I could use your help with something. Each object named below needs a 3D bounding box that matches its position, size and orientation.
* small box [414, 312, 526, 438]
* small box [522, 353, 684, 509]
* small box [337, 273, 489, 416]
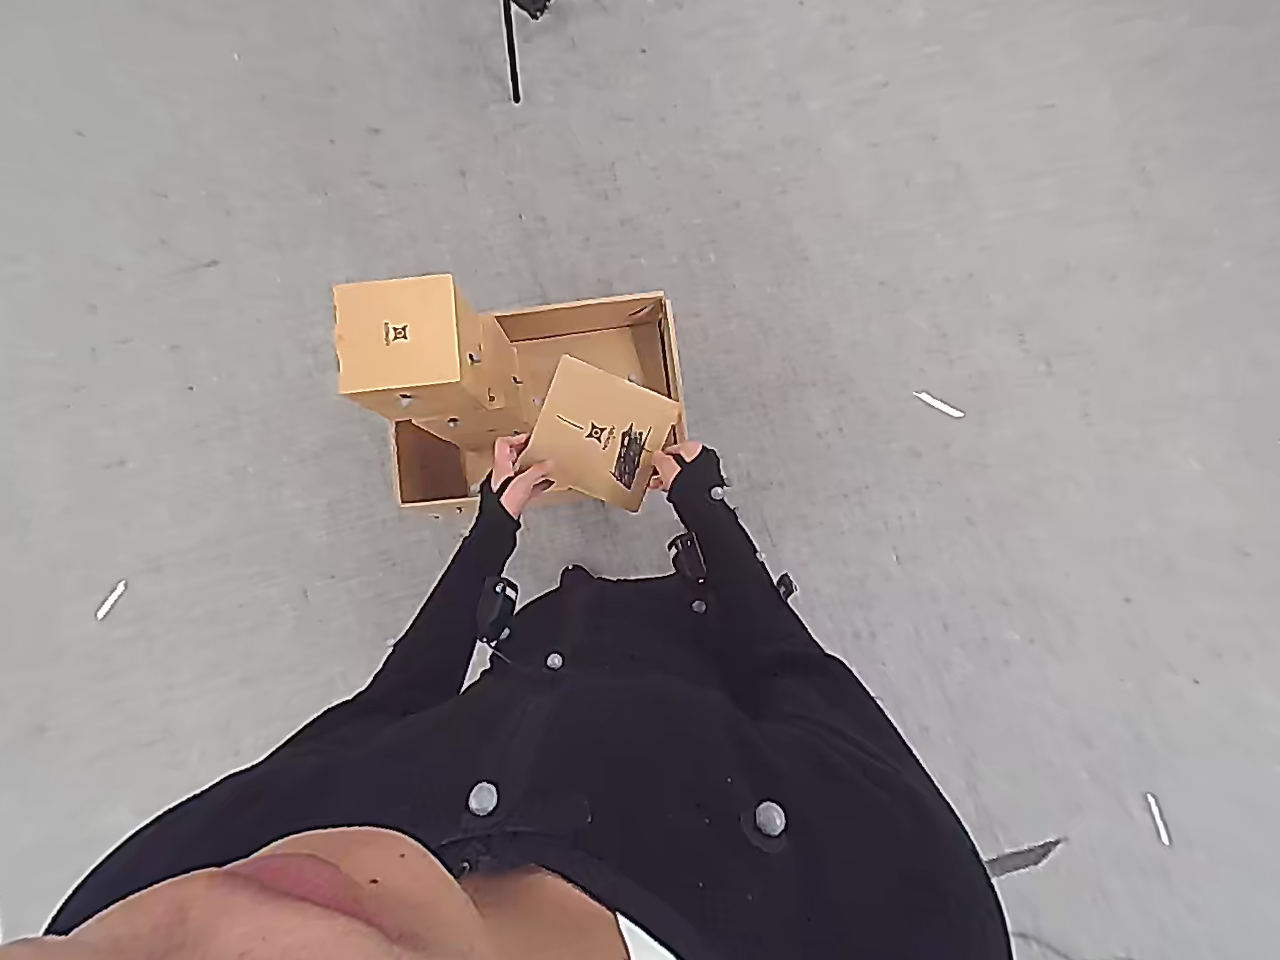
[{"bbox_3d":[-0.321,-0.190,1.017,0.168,0.176,0.179,-10,83,-1],"label":"small box"},{"bbox_3d":[-0.059,-0.077,0.804,0.179,0.176,0.168,22,96,-10],"label":"small box"},{"bbox_3d":[-0.345,-0.204,0.854,0.179,0.176,0.168,-7,84,-1],"label":"small box"}]
